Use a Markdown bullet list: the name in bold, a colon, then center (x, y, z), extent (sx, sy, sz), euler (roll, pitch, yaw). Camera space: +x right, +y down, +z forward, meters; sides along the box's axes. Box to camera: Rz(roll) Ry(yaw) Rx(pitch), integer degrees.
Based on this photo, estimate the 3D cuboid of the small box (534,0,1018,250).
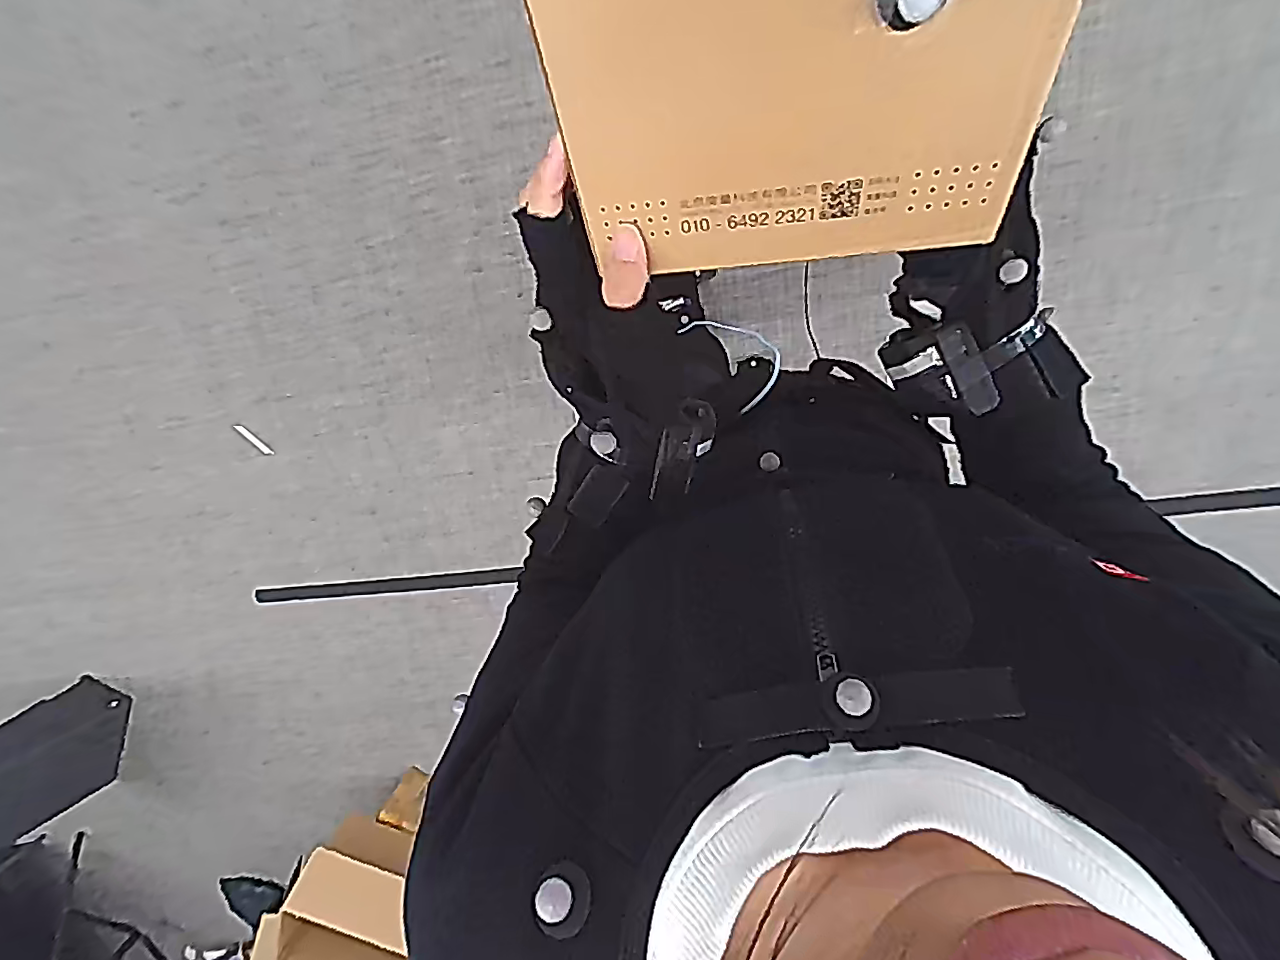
- **small box**: center (0.058, -0.220, 0.237), extent (0.168, 0.179, 0.176), euler (1, 145, 13)
